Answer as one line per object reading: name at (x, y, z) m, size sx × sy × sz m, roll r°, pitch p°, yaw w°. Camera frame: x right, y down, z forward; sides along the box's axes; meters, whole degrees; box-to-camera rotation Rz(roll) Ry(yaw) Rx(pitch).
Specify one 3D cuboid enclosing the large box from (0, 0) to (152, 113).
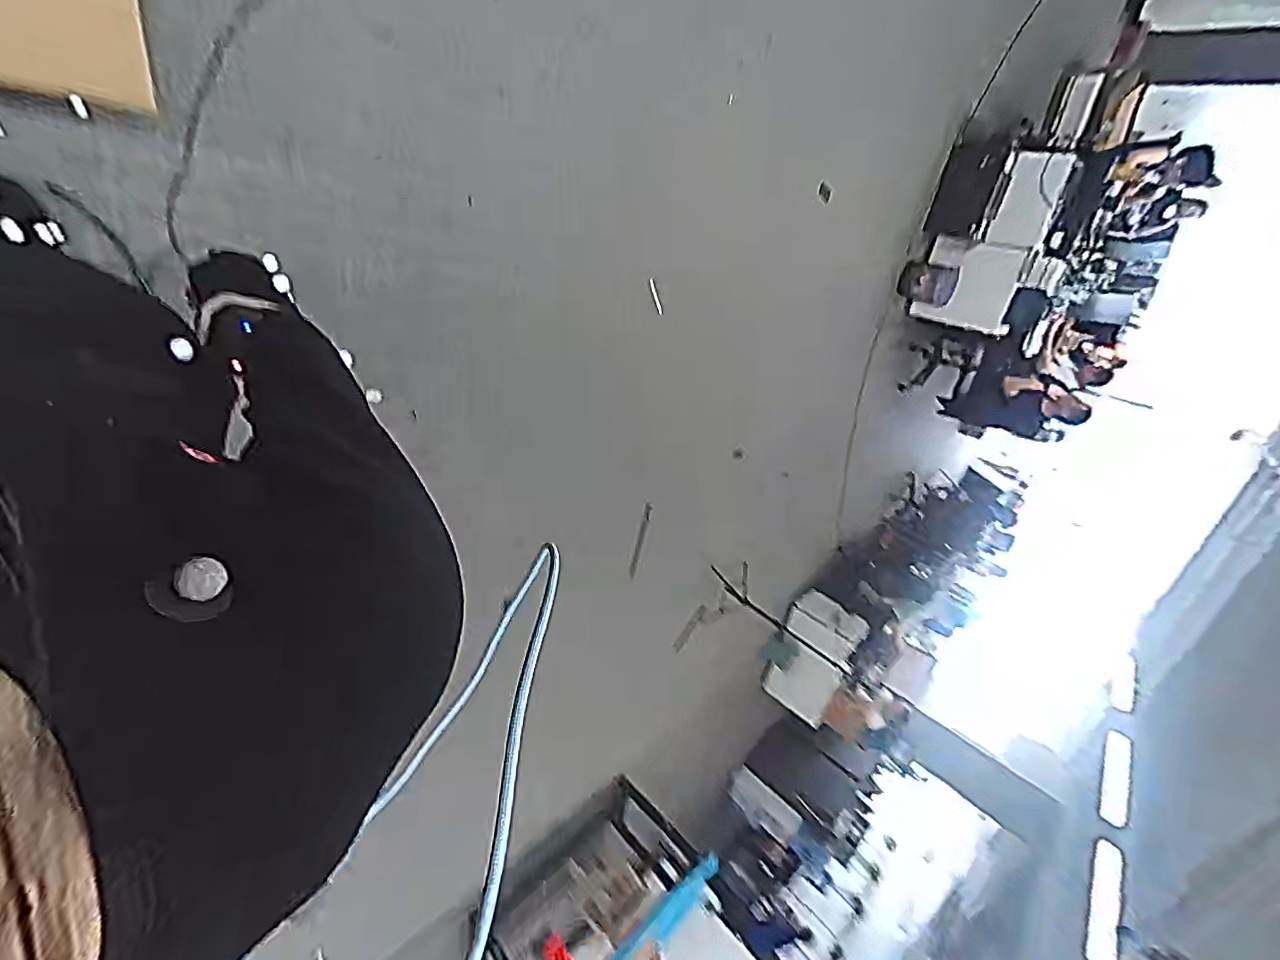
large box at (-0.857, -0.632, 0.591) m, size 0.408 × 0.320 × 0.320 m, roll -18°, pitch 128°, yaw -44°
